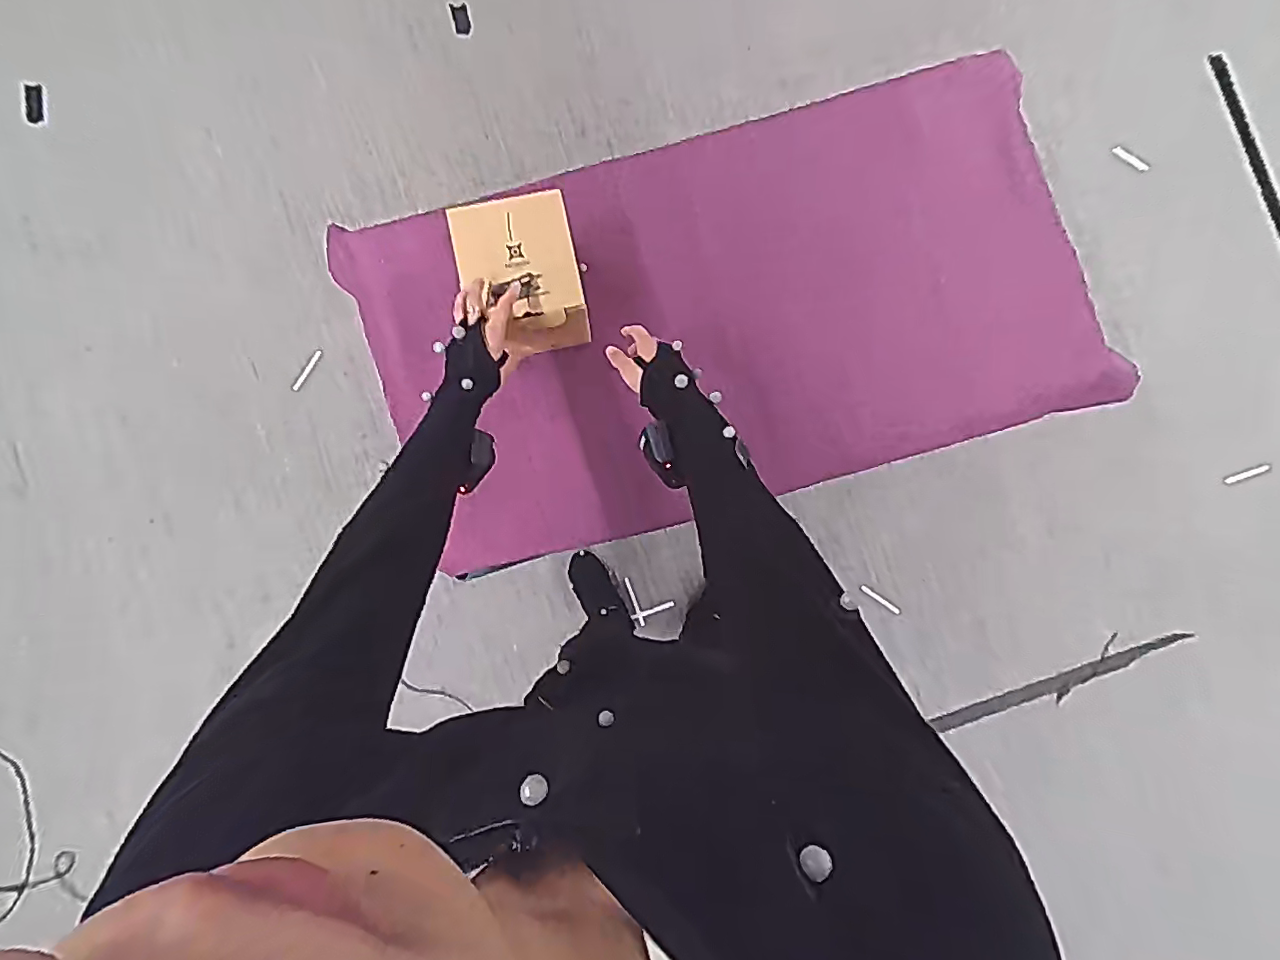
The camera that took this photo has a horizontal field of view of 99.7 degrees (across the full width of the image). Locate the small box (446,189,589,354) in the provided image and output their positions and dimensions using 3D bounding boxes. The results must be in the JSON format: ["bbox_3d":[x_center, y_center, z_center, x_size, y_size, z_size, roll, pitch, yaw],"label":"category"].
[{"bbox_3d":[-0.176,-0.303,0.829,0.168,0.176,0.179,-12,88,-4],"label":"small box"}]
